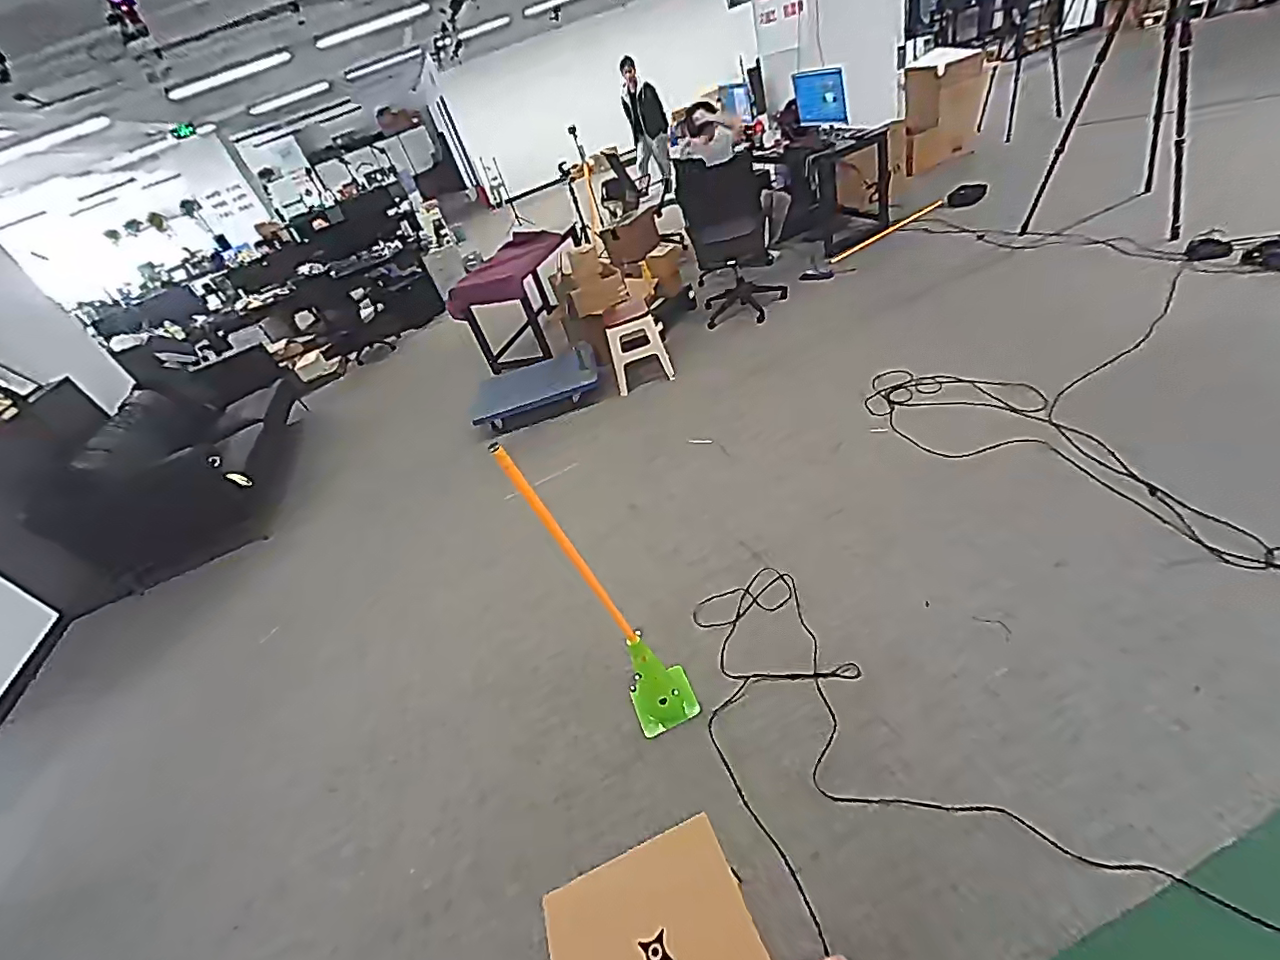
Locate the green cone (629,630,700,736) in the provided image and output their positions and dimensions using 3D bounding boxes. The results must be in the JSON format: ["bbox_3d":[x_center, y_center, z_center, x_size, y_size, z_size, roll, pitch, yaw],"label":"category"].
[{"bbox_3d":[0.032,0.597,1.690,0.202,0.368,0.200,-24,37,-6],"label":"green cone"}]
